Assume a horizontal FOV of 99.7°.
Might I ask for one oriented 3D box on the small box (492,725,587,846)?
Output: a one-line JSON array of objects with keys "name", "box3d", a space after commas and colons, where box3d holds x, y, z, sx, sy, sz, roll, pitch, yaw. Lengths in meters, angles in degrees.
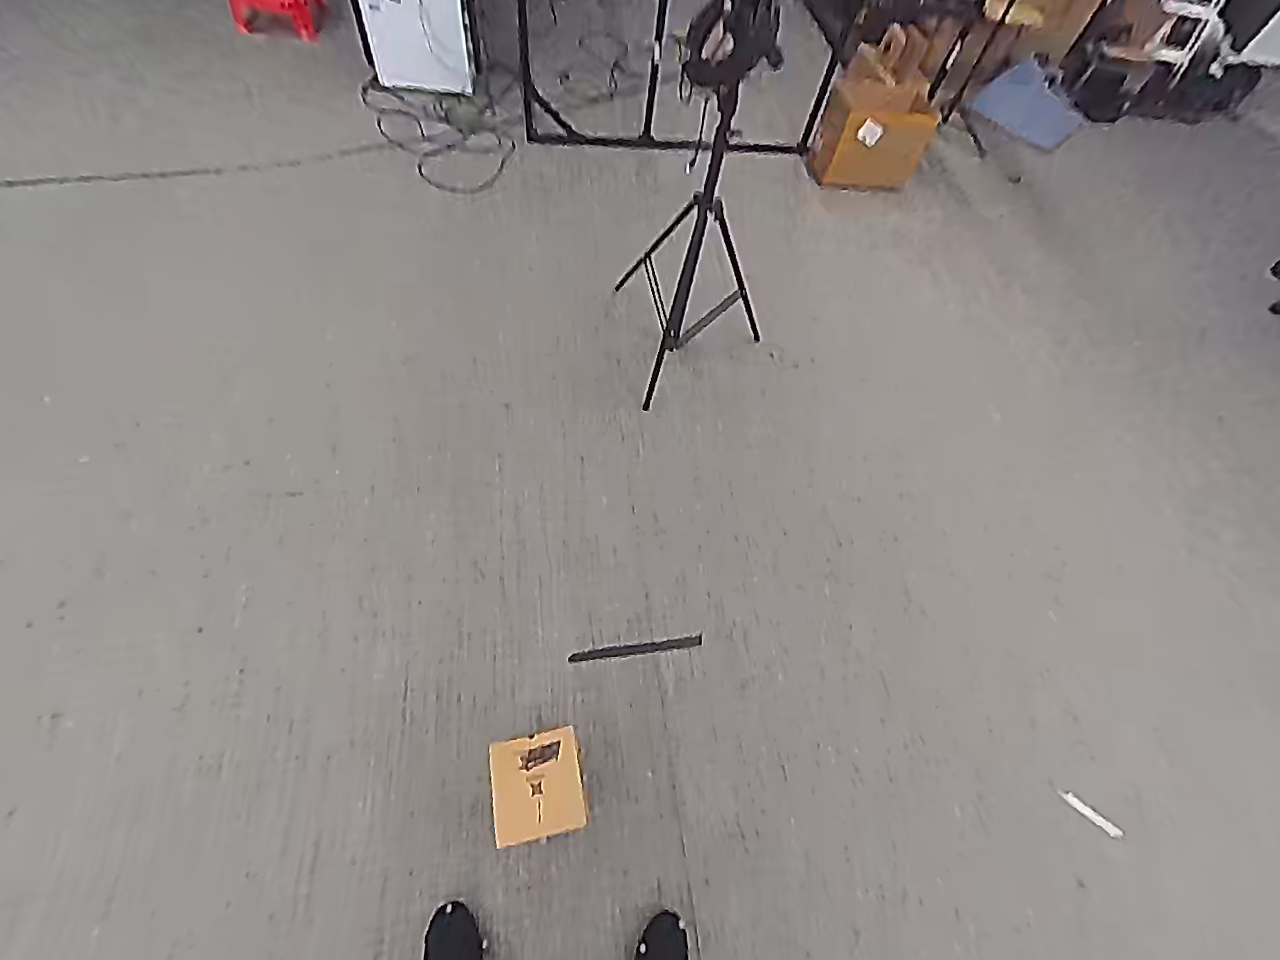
[{"name": "small box", "box3d": [-0.202, 0.610, 1.086, 0.168, 0.176, 0.179, -7, 62, -11]}]
